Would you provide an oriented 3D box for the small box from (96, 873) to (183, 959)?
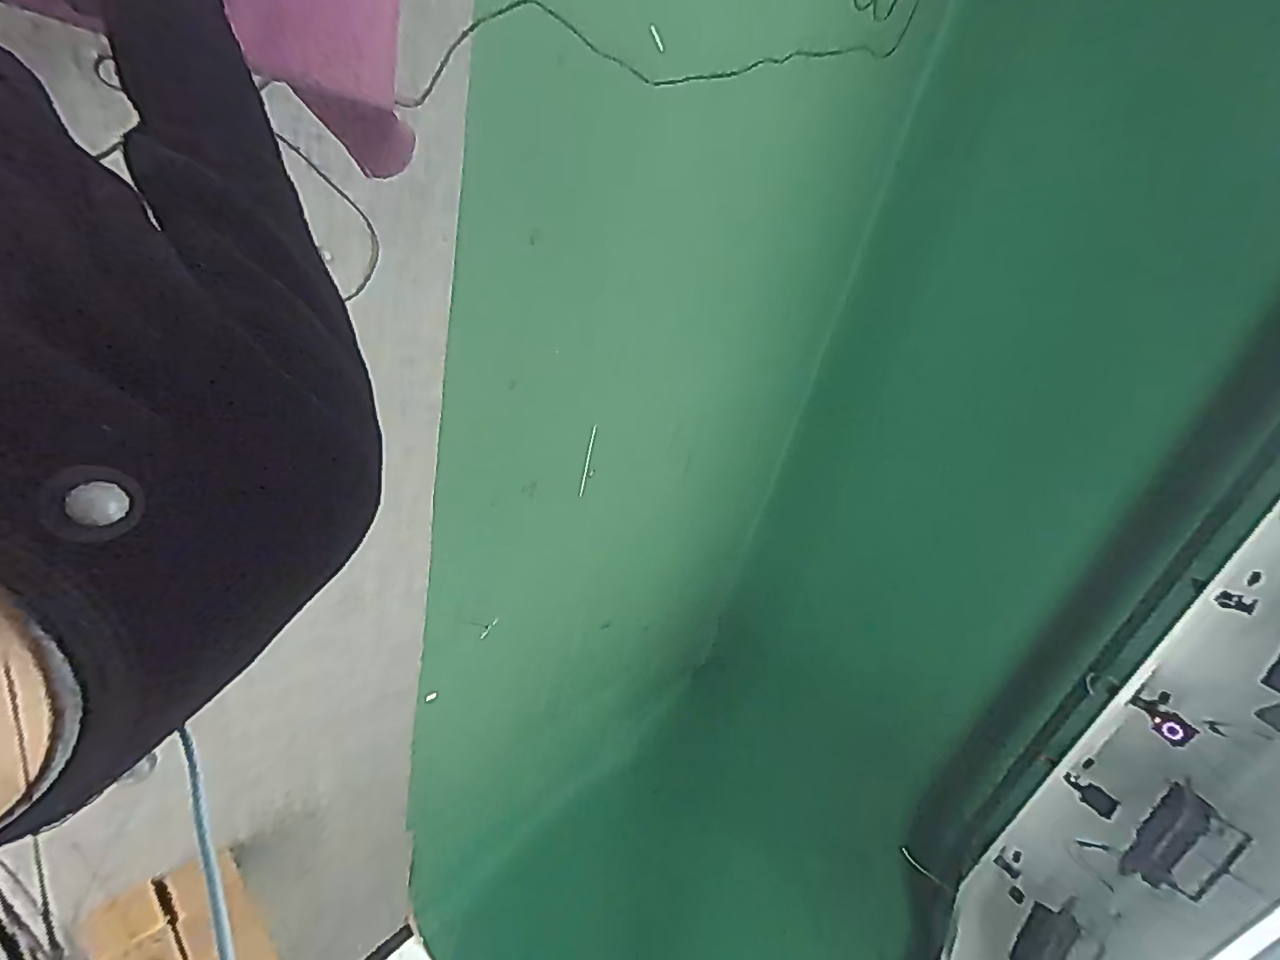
[{"bbox_3d":[-1.577,1.404,1.707,0.168,0.176,0.179,-16,128,-49],"label":"small box"}]
